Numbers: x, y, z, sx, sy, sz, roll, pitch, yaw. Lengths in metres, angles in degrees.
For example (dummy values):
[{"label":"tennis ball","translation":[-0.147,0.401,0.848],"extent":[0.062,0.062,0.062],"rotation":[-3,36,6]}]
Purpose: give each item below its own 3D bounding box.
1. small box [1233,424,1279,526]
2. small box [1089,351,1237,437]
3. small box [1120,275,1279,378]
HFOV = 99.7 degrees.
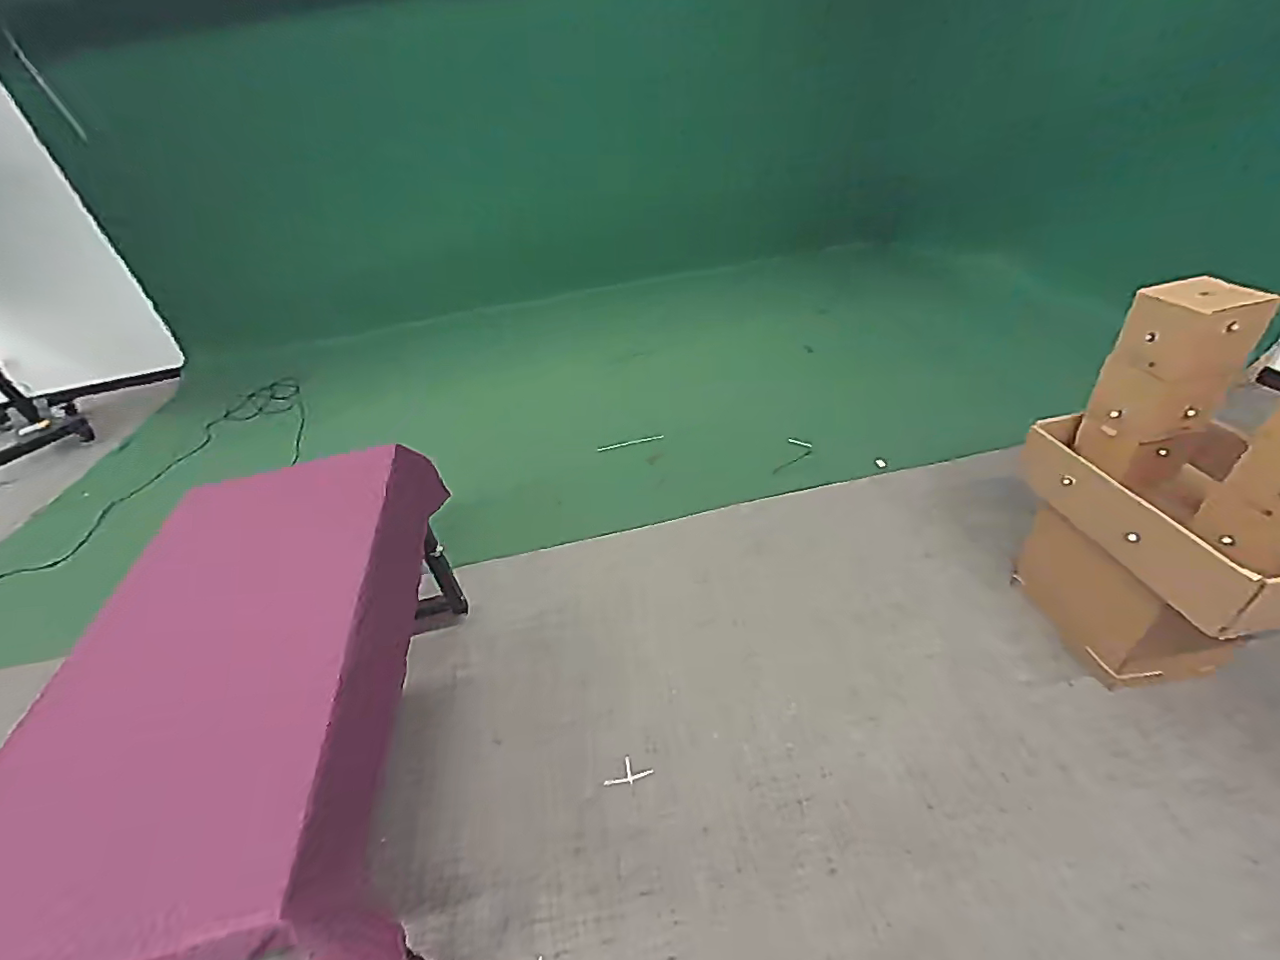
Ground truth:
[{"label":"small box","translation":[1.329,-0.008,1.048],"extent":[0.179,0.176,0.168],"rotation":[-8,38,3]},{"label":"small box","translation":[1.283,-0.222,1.343],"extent":[0.168,0.176,0.179],"rotation":[-13,37,-3]},{"label":"small box","translation":[1.262,-0.351,1.241],"extent":[0.179,0.176,0.168],"rotation":[-12,37,-2]}]
